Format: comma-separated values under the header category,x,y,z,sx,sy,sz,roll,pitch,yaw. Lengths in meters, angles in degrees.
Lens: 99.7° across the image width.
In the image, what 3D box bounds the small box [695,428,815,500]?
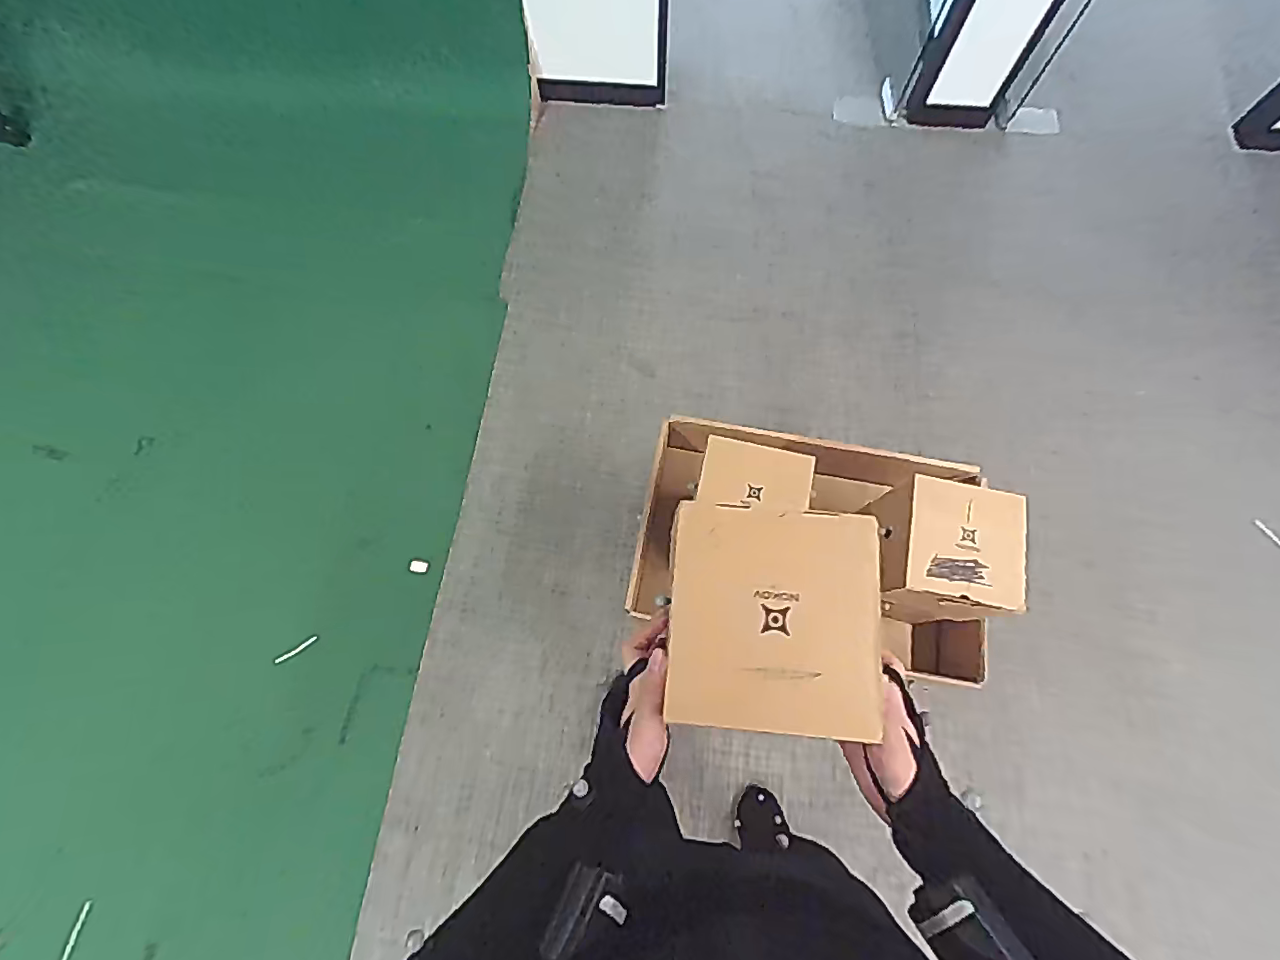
category,x,y,z,sx,sy,sz,roll,pitch,yaw
small box,0.168,0.042,0.870,0.168,0.176,0.179,12,73,6

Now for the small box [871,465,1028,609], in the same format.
category,x,y,z,sx,sy,sz,roll,pitch,yaw
small box,0.468,0.097,0.846,0.168,0.176,0.179,12,73,4

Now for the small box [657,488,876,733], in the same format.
category,x,y,z,sx,sy,sz,roll,pitch,yaw
small box,0.105,0.118,0.503,0.168,0.176,0.179,5,76,4
